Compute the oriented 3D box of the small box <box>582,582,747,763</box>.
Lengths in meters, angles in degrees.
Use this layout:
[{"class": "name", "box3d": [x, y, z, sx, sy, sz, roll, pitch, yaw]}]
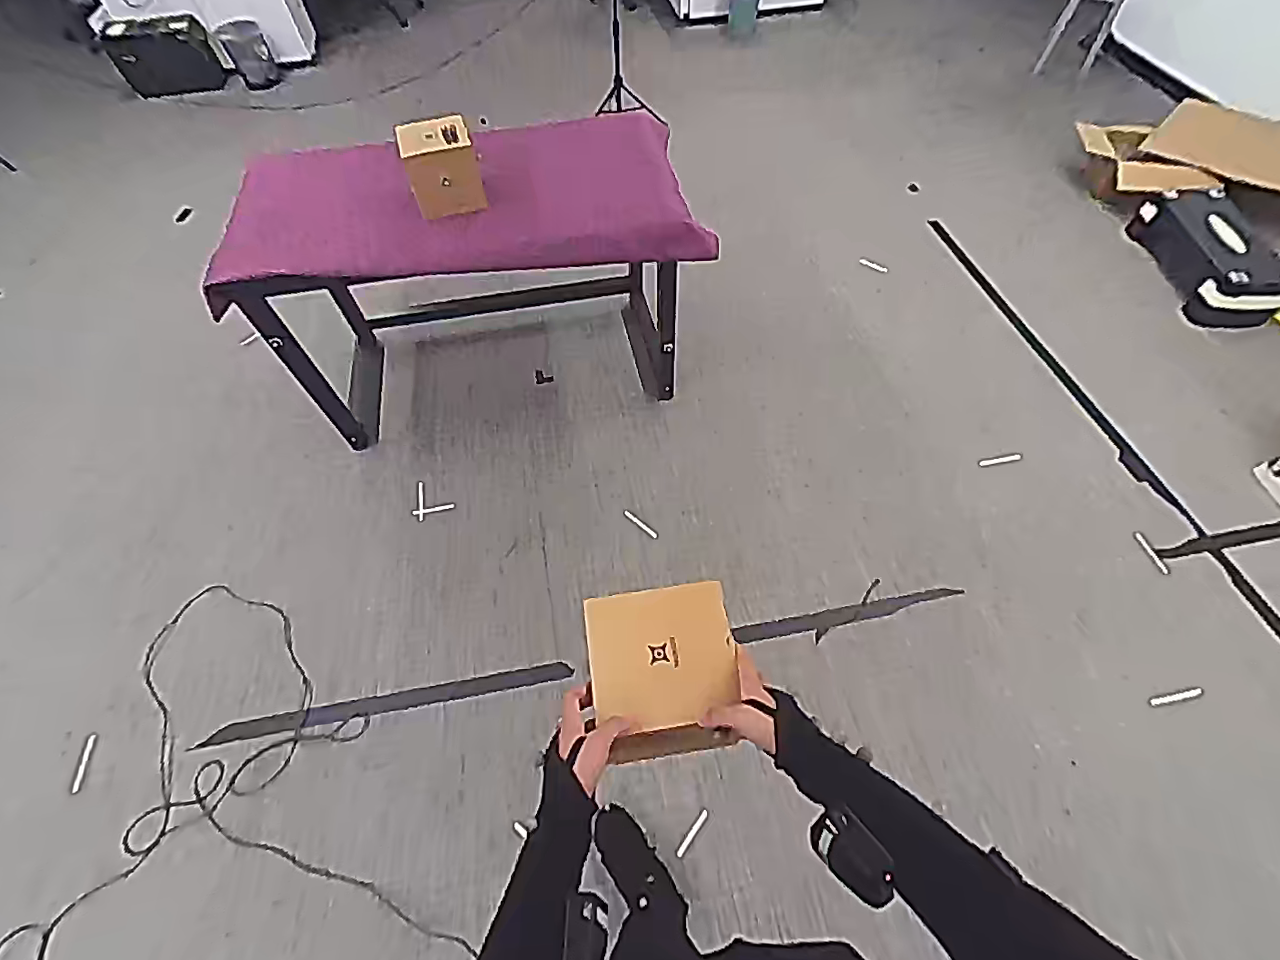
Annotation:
[{"class": "small box", "box3d": [0.026, 0.252, 0.699, 0.179, 0.176, 0.168, -7, 54, -4]}]
